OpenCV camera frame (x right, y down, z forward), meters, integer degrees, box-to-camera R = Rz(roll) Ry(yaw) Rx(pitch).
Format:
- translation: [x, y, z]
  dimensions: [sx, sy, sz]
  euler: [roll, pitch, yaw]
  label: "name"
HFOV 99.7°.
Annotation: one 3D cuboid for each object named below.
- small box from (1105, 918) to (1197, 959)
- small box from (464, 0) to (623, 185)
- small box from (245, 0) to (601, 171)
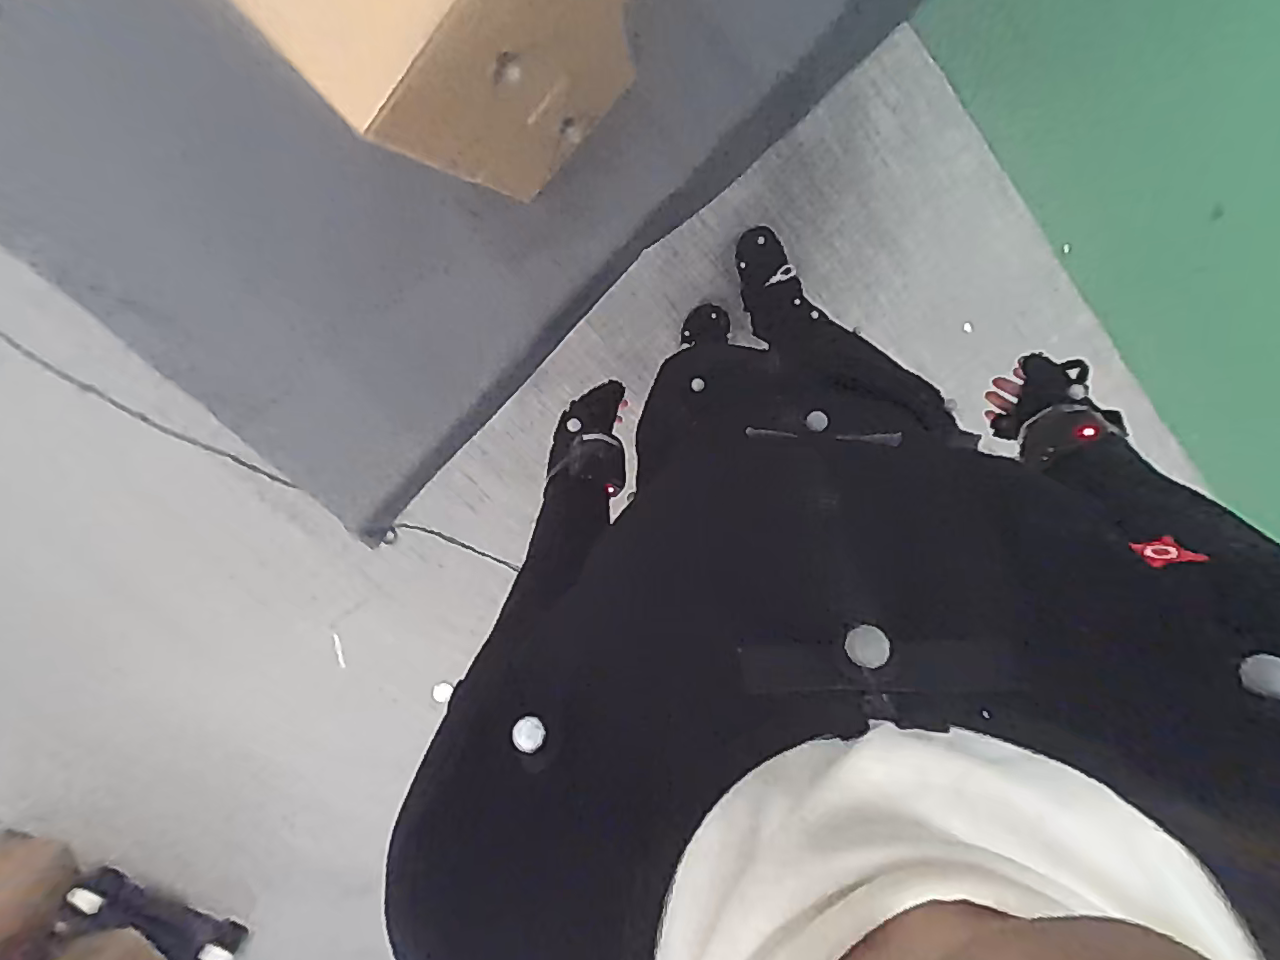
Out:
- translation: [1.494, 1.397, 1.538]
  dimensions: [0.179, 0.176, 0.168]
  euler: [-40, 102, 19]
  label: "small box"
- translation: [-0.131, -0.386, 0.469]
  dimensions: [0.168, 0.176, 0.179]
  euler: [-41, 104, 18]
  label: "small box"
- translation: [-0.132, -0.323, 0.317]
  dimensions: [0.168, 0.176, 0.179]
  euler: [43, 107, -12]
  label: "small box"
